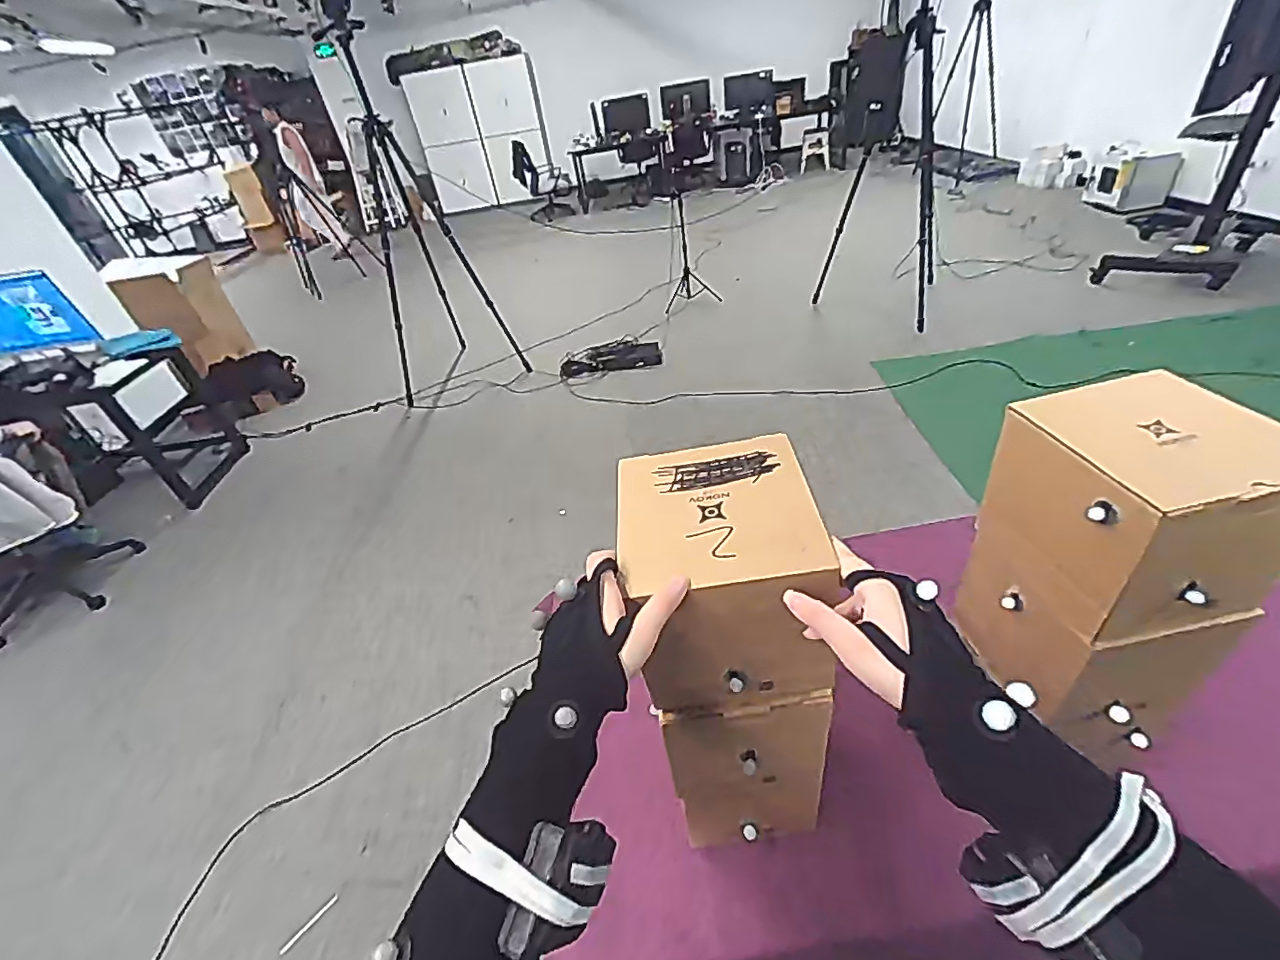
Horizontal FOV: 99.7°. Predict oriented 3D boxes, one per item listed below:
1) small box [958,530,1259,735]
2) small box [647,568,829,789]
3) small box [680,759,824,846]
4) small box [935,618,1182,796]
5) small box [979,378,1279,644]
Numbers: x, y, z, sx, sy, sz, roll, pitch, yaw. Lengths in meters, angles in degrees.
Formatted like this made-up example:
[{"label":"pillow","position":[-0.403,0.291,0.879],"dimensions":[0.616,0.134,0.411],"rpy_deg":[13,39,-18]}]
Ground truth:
[{"label":"small box","position":[0.499,0.157,0.617],"dimensions":[0.168,0.176,0.179],"rpy_deg":[-12,38,0]},{"label":"small box","position":[0.105,0.230,0.619],"dimensions":[0.168,0.176,0.179],"rpy_deg":[-9,38,2]},{"label":"small box","position":[0.132,0.354,0.724],"dimensions":[0.168,0.176,0.179],"rpy_deg":[-9,38,2]},{"label":"small box","position":[0.525,0.286,0.713],"dimensions":[0.179,0.176,0.168],"rpy_deg":[-10,36,1]},{"label":"small box","position":[0.471,0.026,0.525],"dimensions":[0.168,0.176,0.179],"rpy_deg":[-13,38,-1]}]
